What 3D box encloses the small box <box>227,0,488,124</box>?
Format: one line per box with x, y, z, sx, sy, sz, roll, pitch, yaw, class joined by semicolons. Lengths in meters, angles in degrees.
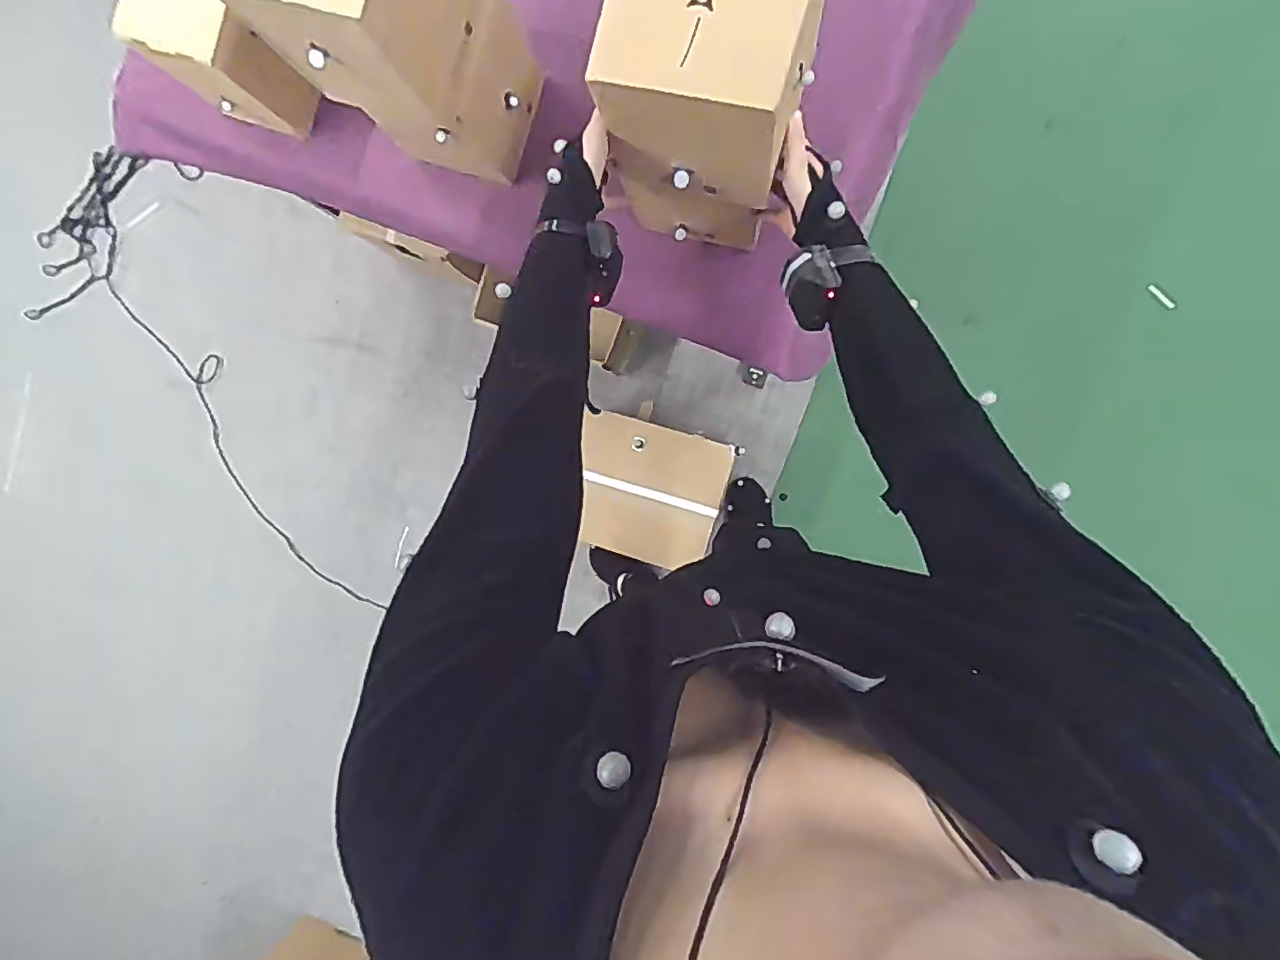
-0.292;-0.515;0.567;0.179;0.176;0.168;19;95;9;small box

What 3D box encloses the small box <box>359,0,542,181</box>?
-0.254;-0.536;0.726;0.179;0.176;0.168;20;94;9;small box

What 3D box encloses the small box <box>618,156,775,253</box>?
0.086;-0.411;0.670;0.168;0.176;0.179;15;95;10;small box

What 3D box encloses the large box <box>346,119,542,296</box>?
-0.500;-0.762;1.435;0.320;0.320;0.408;21;97;8;large box

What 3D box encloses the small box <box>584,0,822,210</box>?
0.067;-0.390;0.506;0.168;0.176;0.179;17;94;11;small box

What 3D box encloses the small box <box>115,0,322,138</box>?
-0.584;-0.646;0.782;0.168;0.176;0.179;21;96;8;small box
